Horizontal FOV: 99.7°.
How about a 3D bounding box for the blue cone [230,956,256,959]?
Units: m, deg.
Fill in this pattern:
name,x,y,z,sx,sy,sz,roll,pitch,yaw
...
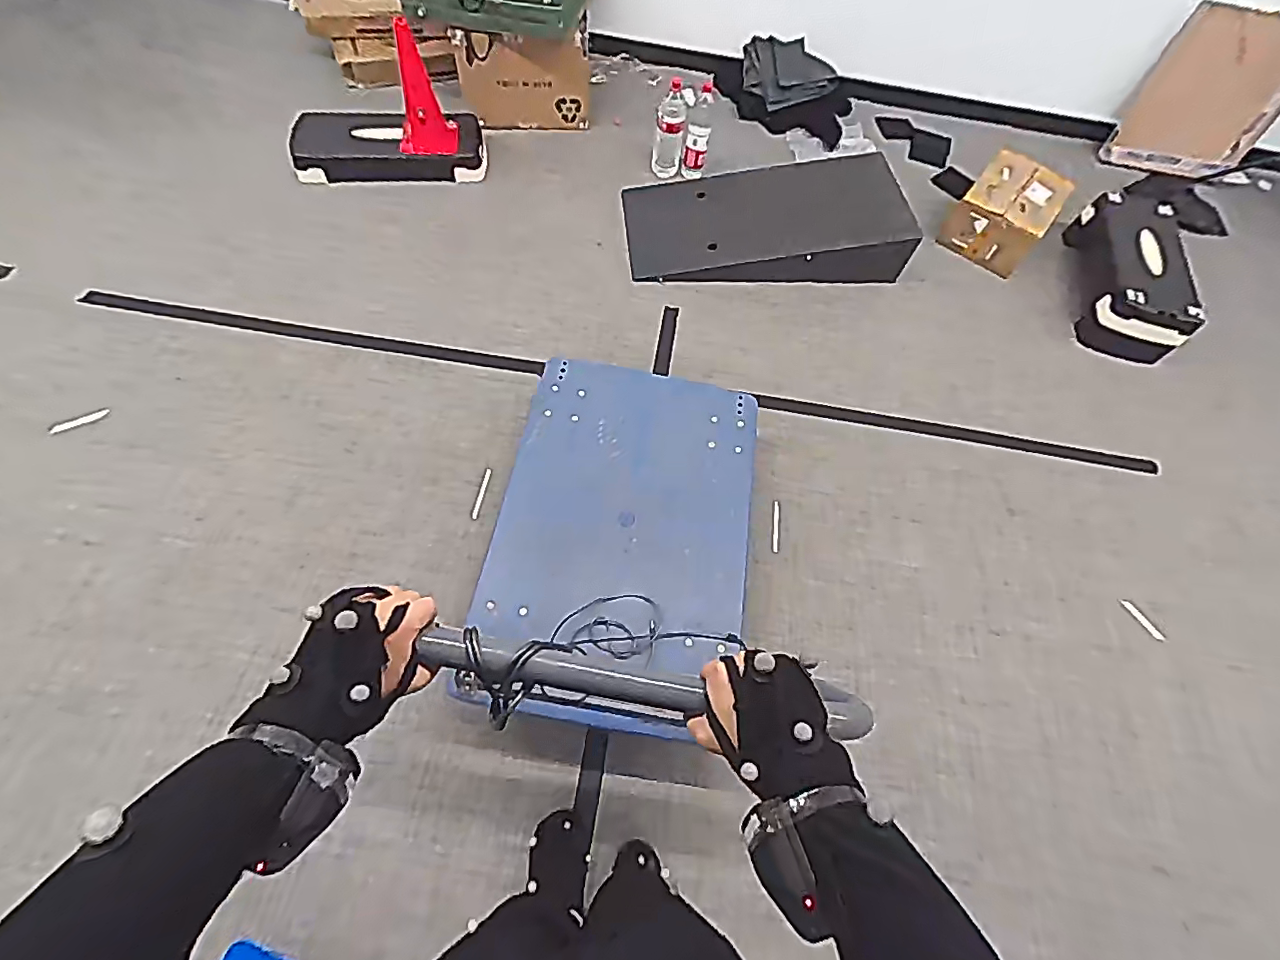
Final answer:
name,x,y,z,sx,sy,sz,roll,pitch,yaw
blue cone,-0.664,0.865,0.767,0.193,0.380,0.192,23,63,6
